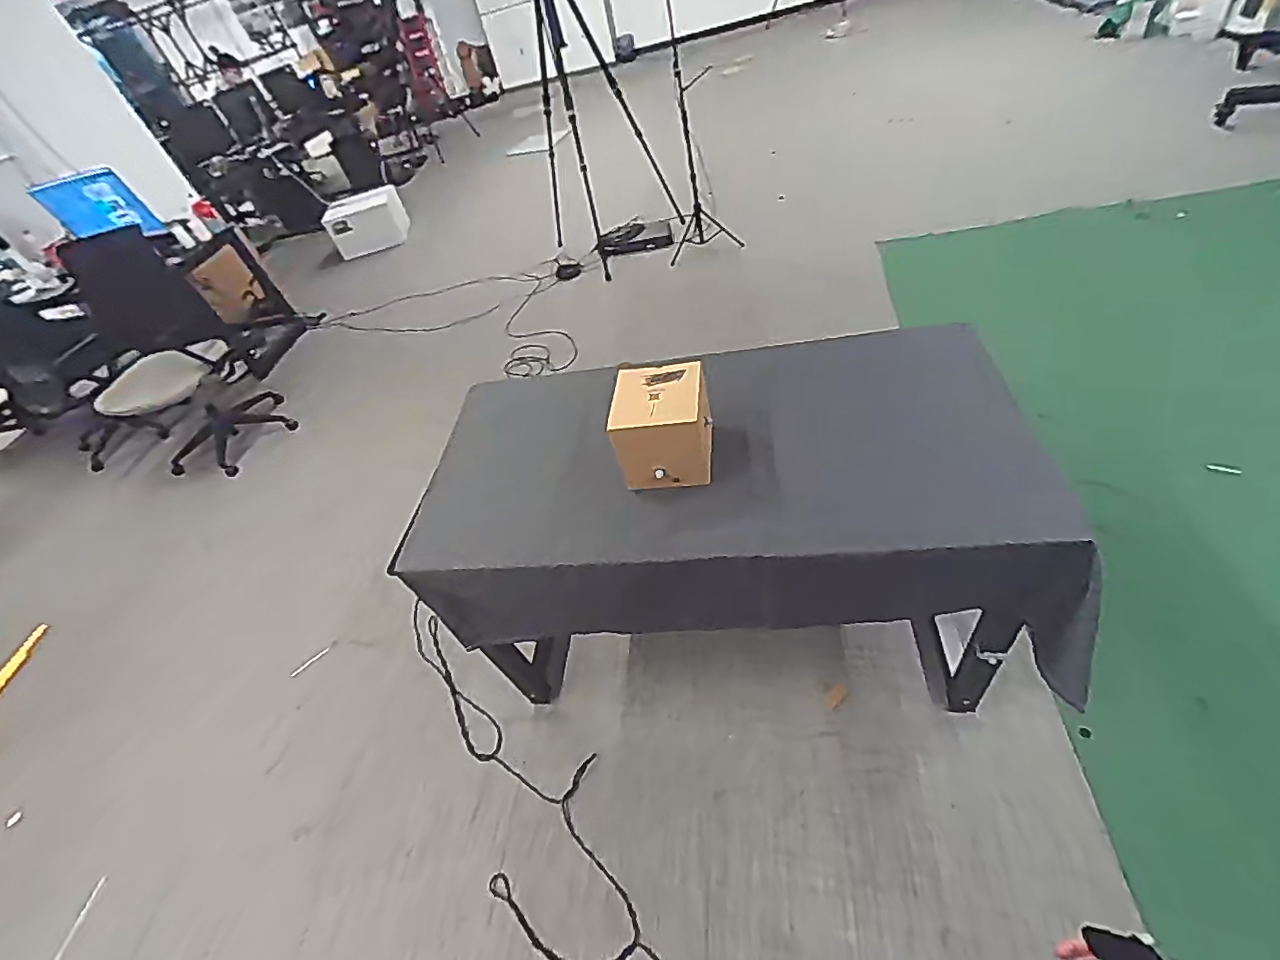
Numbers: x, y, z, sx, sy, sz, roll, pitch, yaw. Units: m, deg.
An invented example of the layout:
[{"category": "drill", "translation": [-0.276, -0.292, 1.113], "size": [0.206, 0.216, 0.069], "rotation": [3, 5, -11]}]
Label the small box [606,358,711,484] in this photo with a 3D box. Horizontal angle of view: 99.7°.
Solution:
[{"category": "small box", "translation": [0.045, -0.112, 1.058], "size": [0.168, 0.176, 0.179], "rotation": [-4, 47, 14]}]
